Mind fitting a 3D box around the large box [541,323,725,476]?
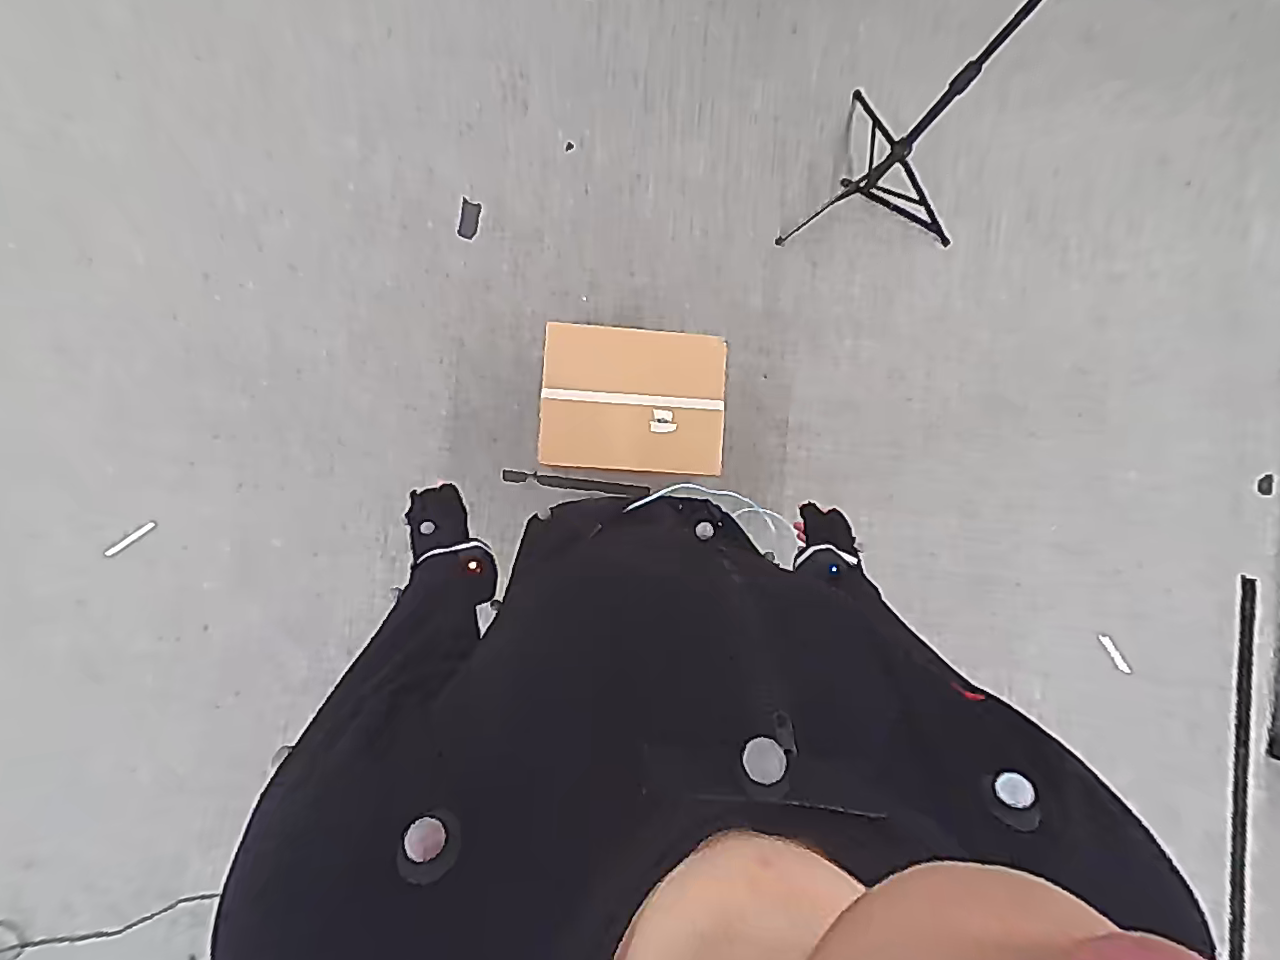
[{"bbox_3d":[-0.028,-0.177,1.348,0.408,0.320,0.320,4,89,-5],"label":"large box"}]
